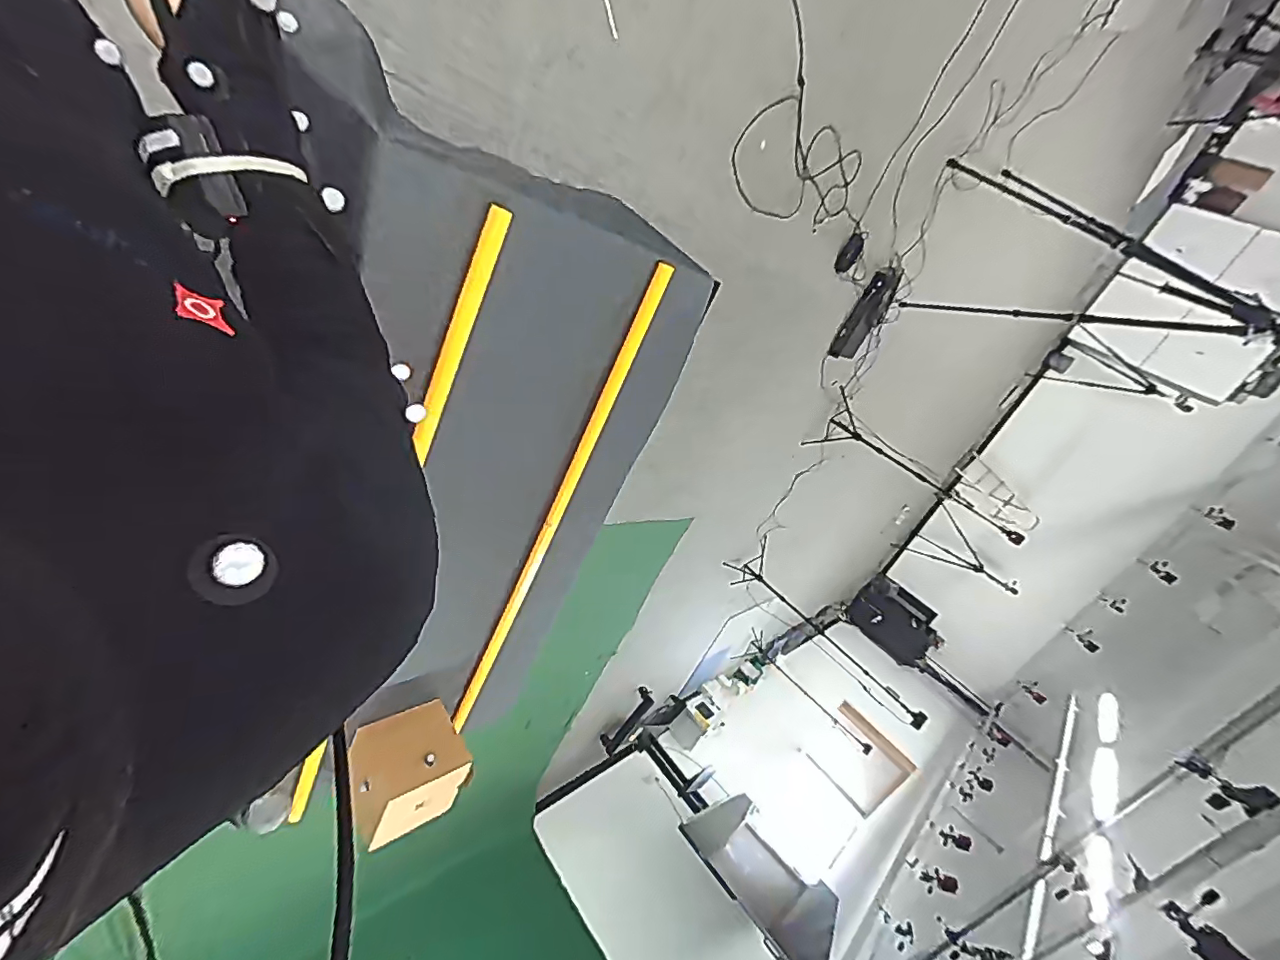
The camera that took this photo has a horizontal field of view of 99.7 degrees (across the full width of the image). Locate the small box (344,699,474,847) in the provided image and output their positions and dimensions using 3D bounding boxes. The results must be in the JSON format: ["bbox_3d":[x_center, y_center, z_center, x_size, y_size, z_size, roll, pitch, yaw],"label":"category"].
[{"bbox_3d":[-0.480,0.589,1.110,0.179,0.176,0.168,-3,127,-50],"label":"small box"}]
